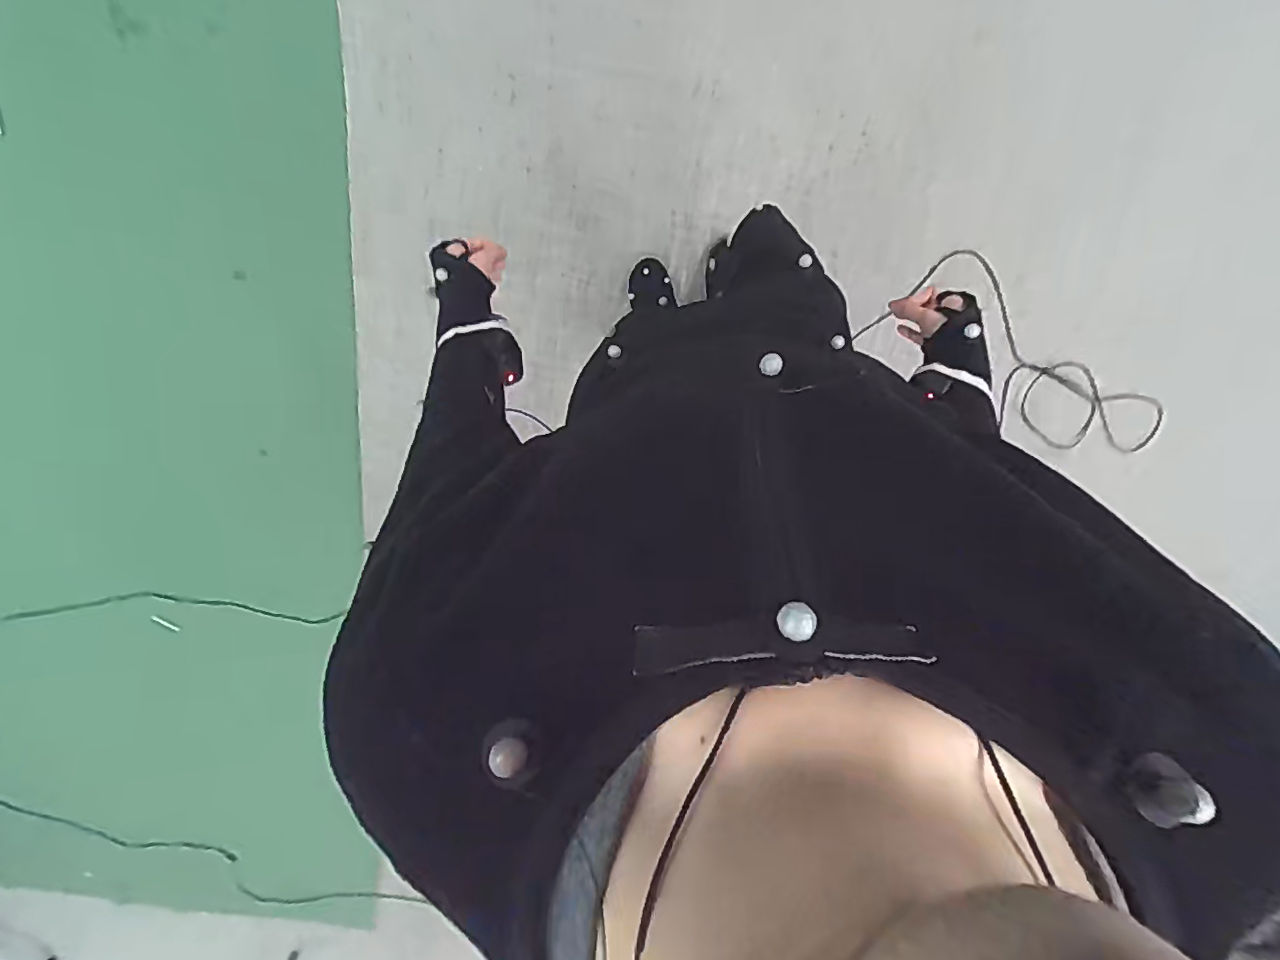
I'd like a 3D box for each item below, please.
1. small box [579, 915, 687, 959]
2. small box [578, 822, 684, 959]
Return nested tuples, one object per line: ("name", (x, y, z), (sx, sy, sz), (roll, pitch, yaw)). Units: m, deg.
("small box", (-0.020, 0.862, 0.893), (0.179, 0.176, 0.168), (8, 115, -3))
("small box", (-0.018, 0.796, 1.044), (0.179, 0.176, 0.168), (7, 114, -3))
